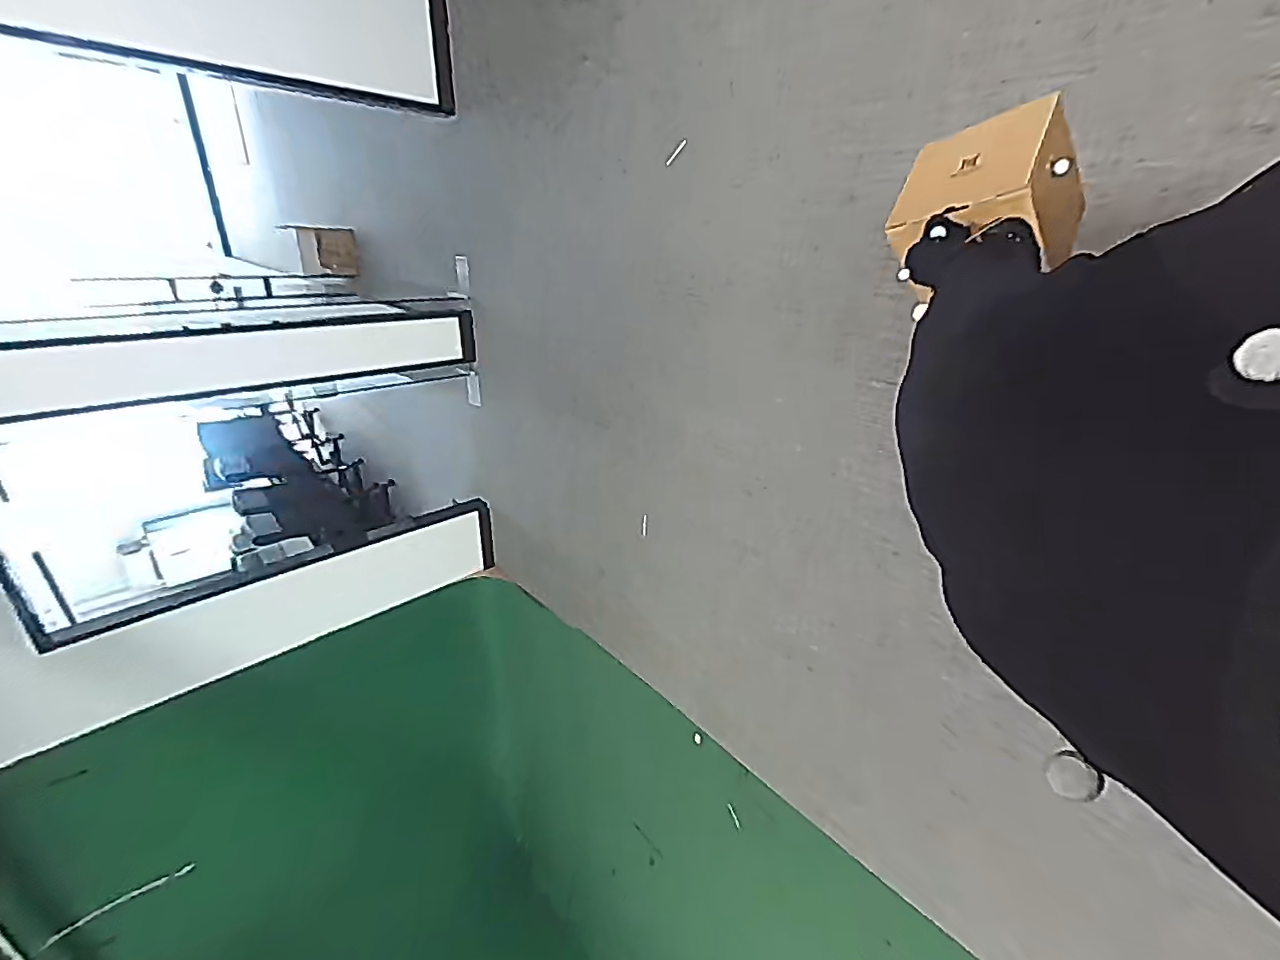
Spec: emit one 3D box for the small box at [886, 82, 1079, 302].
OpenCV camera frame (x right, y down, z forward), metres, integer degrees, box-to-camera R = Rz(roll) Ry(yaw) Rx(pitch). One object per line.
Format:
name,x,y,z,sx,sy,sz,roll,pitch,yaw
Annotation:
small box,0.472,-0.377,0.739,0.176,0.179,0.168,39,160,-34
